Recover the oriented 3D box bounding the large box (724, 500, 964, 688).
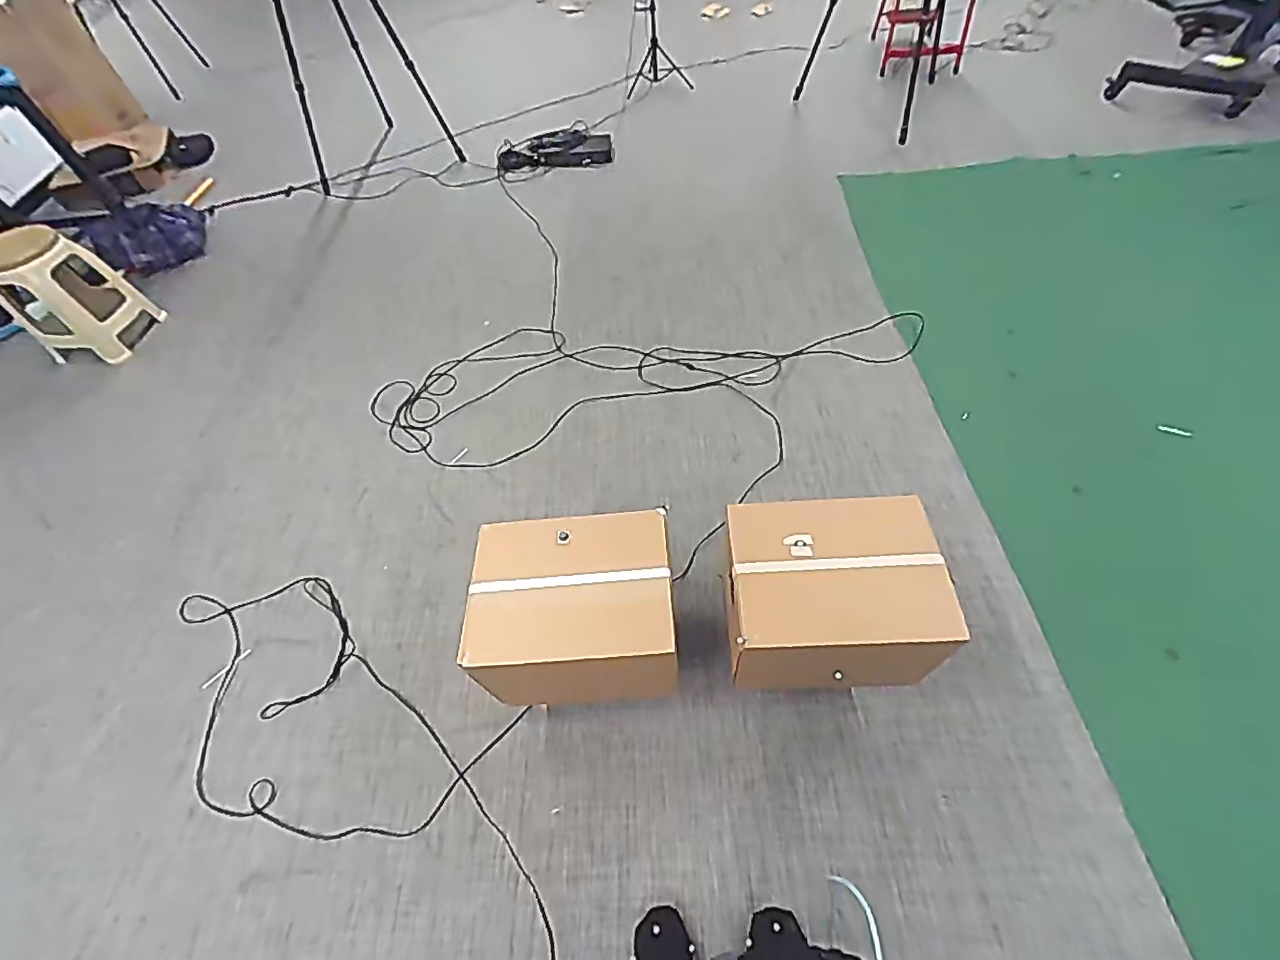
[{"bbox_3d":[0.406,0.264,1.198,0.408,0.320,0.320,-3,55,4],"label":"large box"}]
